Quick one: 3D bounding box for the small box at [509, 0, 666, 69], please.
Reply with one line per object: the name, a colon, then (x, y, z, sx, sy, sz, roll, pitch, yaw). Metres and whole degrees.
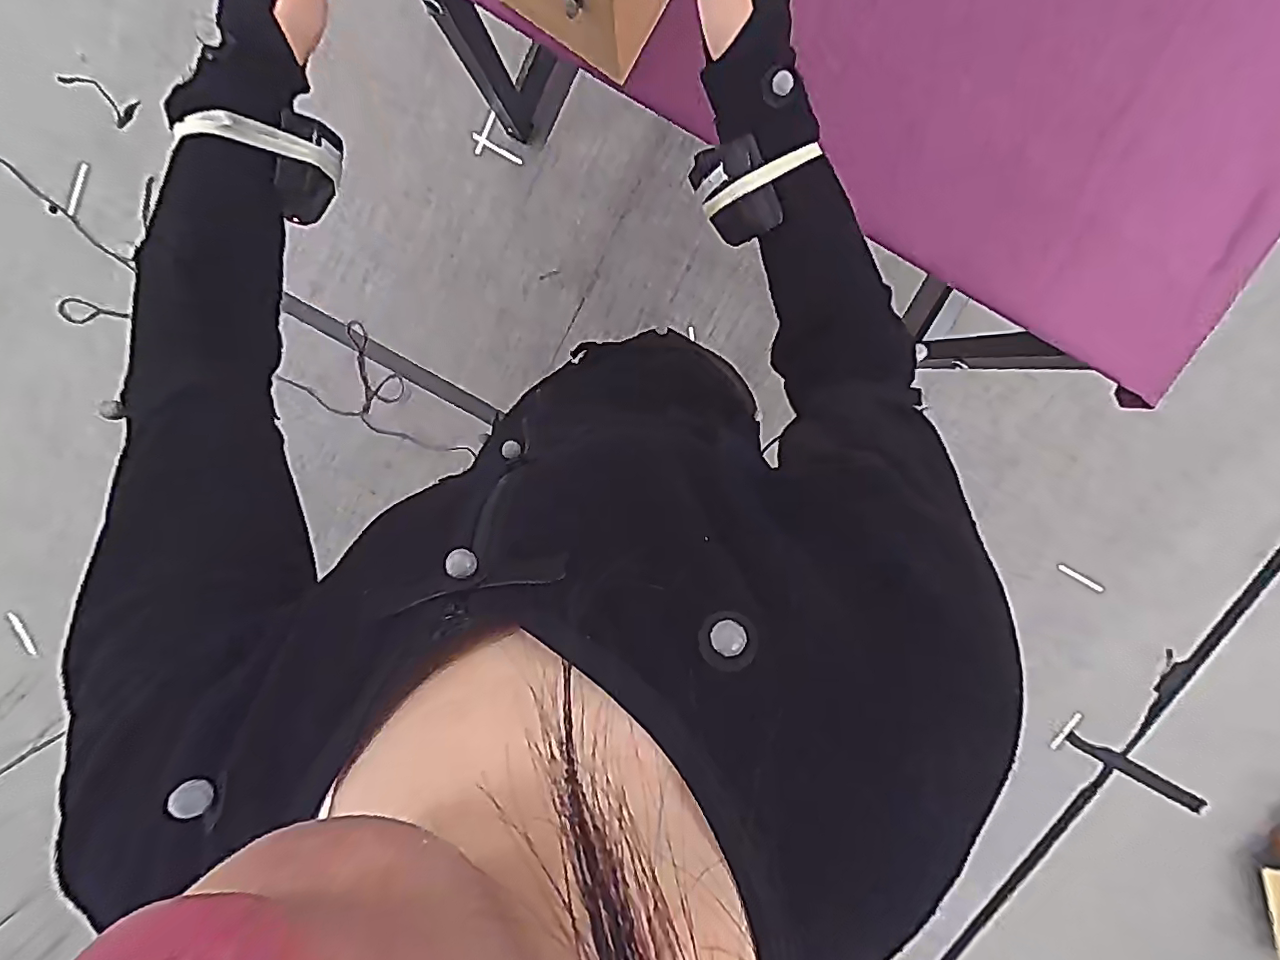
small box: (-0.050, -0.570, 0.549, 0.179, 0.176, 0.168, 32, 101, -5)

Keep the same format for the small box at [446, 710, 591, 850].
small box: (-0.198, 0.546, 0.936, 0.168, 0.176, 0.179, 29, 102, -4)

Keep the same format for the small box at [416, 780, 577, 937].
small box: (-0.202, 0.578, 0.776, 0.168, 0.176, 0.179, 28, 102, -4)
